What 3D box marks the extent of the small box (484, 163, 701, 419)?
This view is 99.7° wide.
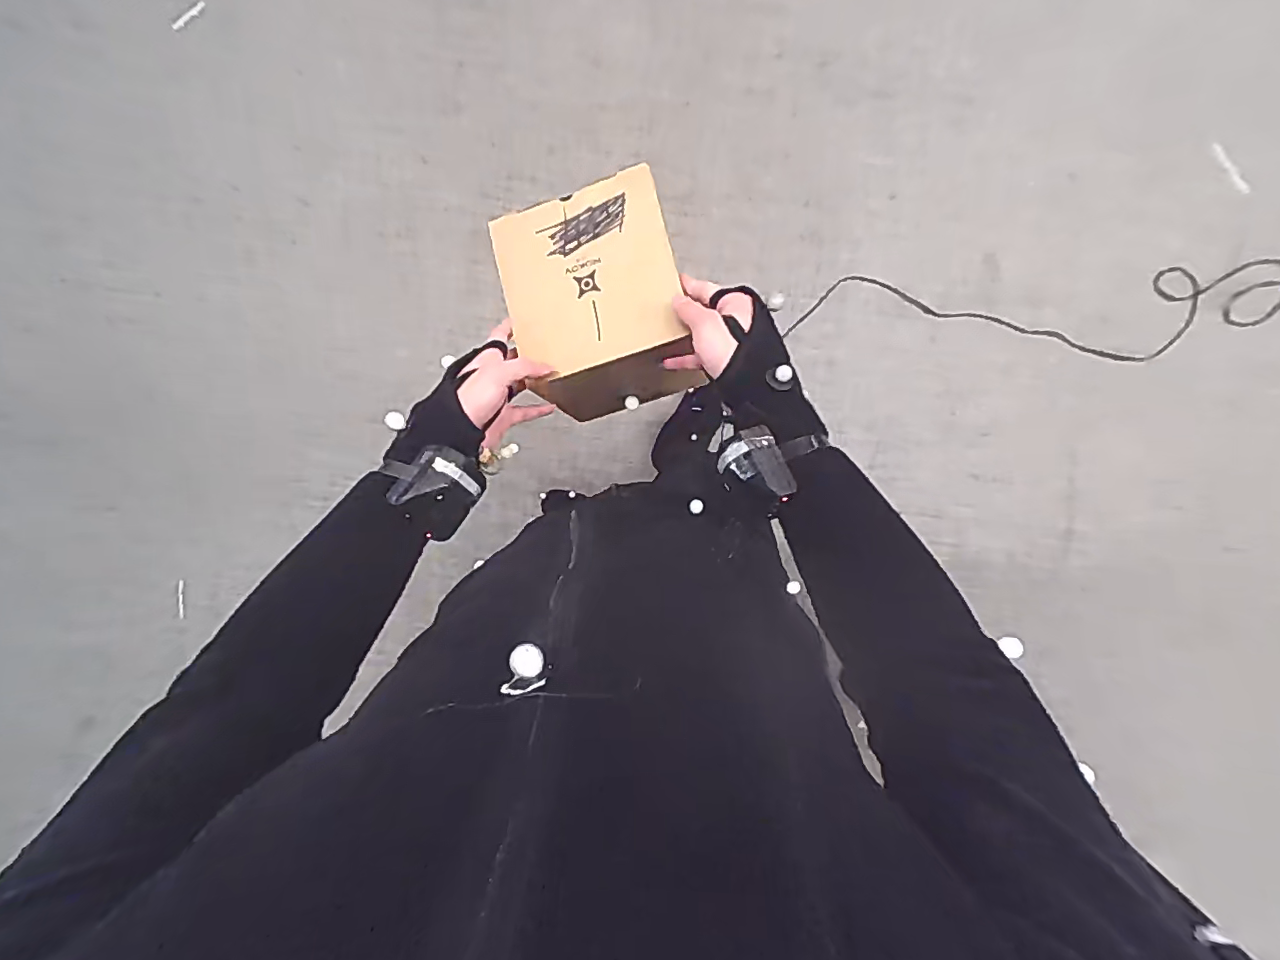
[{"bbox_3d":[-0.040,-0.184,0.580,0.168,0.176,0.179,-16,80,11],"label":"small box"}]
